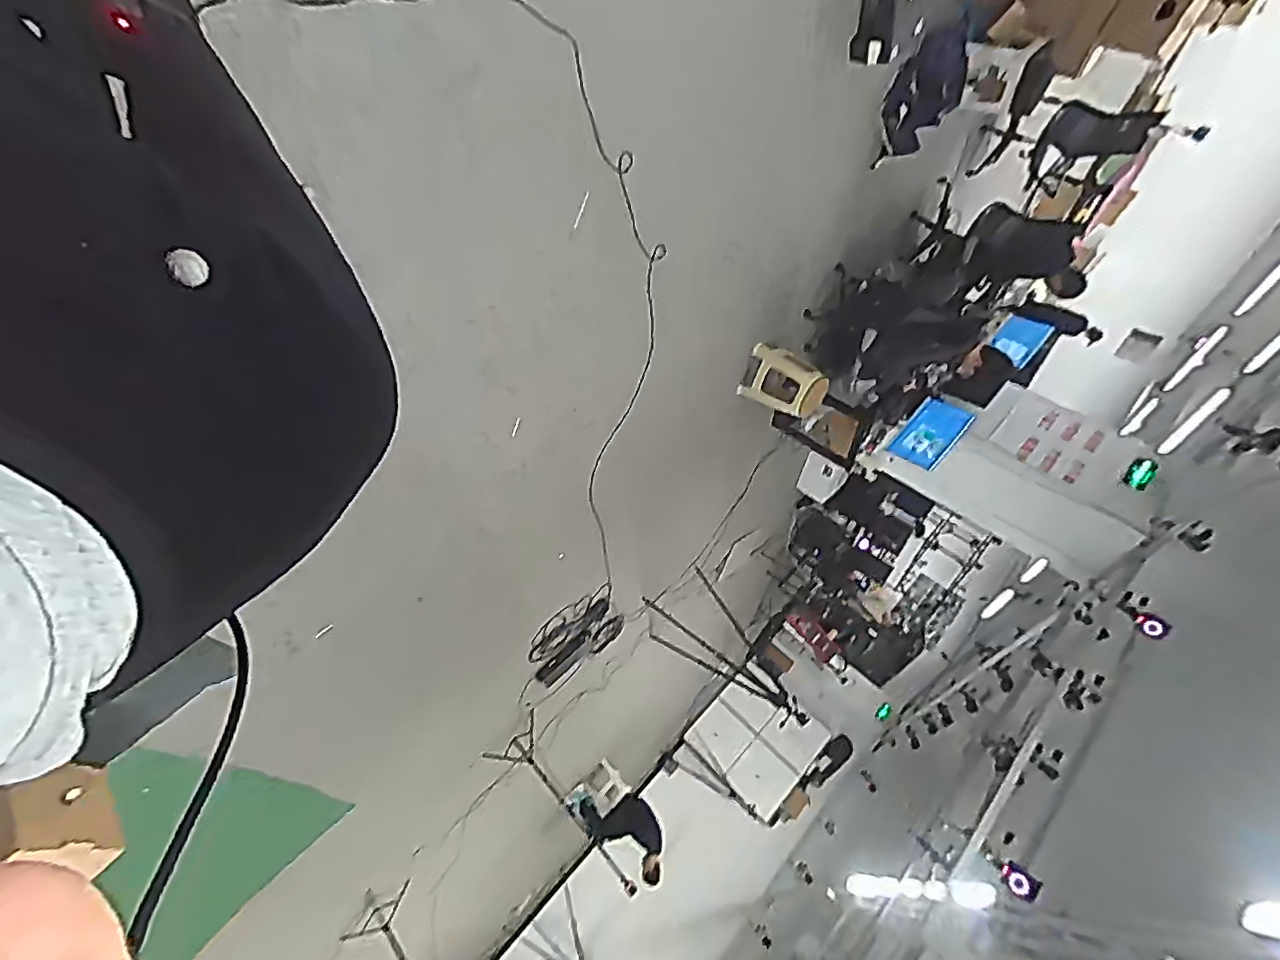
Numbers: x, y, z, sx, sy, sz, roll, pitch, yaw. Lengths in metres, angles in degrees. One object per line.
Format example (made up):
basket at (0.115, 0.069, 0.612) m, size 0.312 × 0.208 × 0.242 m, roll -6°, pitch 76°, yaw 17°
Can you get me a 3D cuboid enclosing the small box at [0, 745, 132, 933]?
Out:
small box at (-0.944, 0.536, 0.815) m, size 0.179 × 0.176 × 0.168 m, roll -42°, pitch 149°, yaw -20°
